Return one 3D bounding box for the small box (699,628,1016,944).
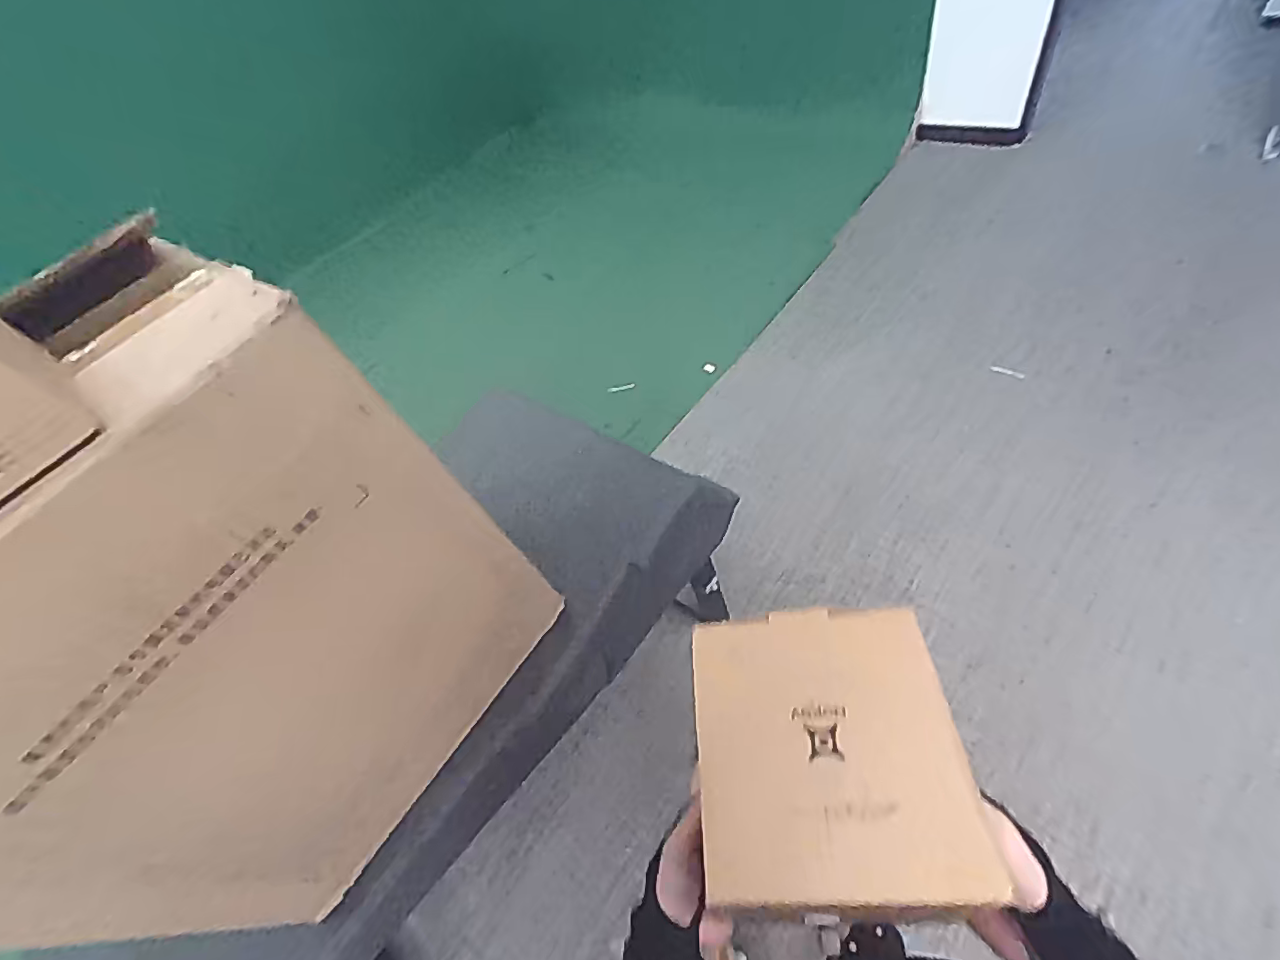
[{"bbox_3d":[0.138,0.236,0.414,0.168,0.176,0.179,-8,48,9],"label":"small box"}]
